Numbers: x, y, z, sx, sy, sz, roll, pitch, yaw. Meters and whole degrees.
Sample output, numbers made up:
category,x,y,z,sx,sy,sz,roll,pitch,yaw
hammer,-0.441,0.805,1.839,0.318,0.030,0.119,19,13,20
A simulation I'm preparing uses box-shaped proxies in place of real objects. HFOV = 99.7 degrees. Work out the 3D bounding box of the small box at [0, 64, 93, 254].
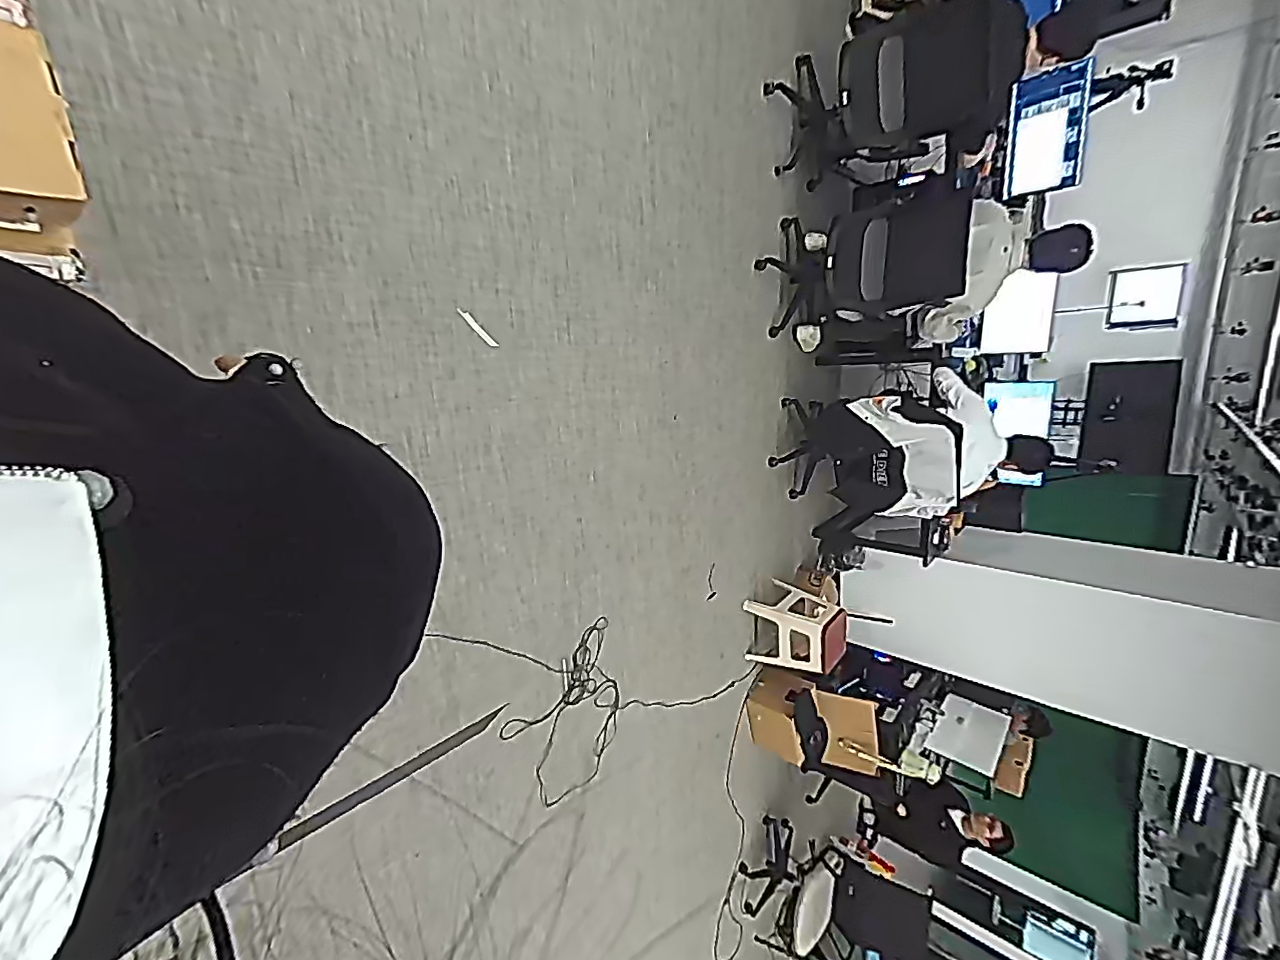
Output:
category,x,y,z,sx,sy,sz,roll,pitch,yaw
small box,-0.746,-0.347,0.585,0.179,0.176,0.168,-20,112,-47
